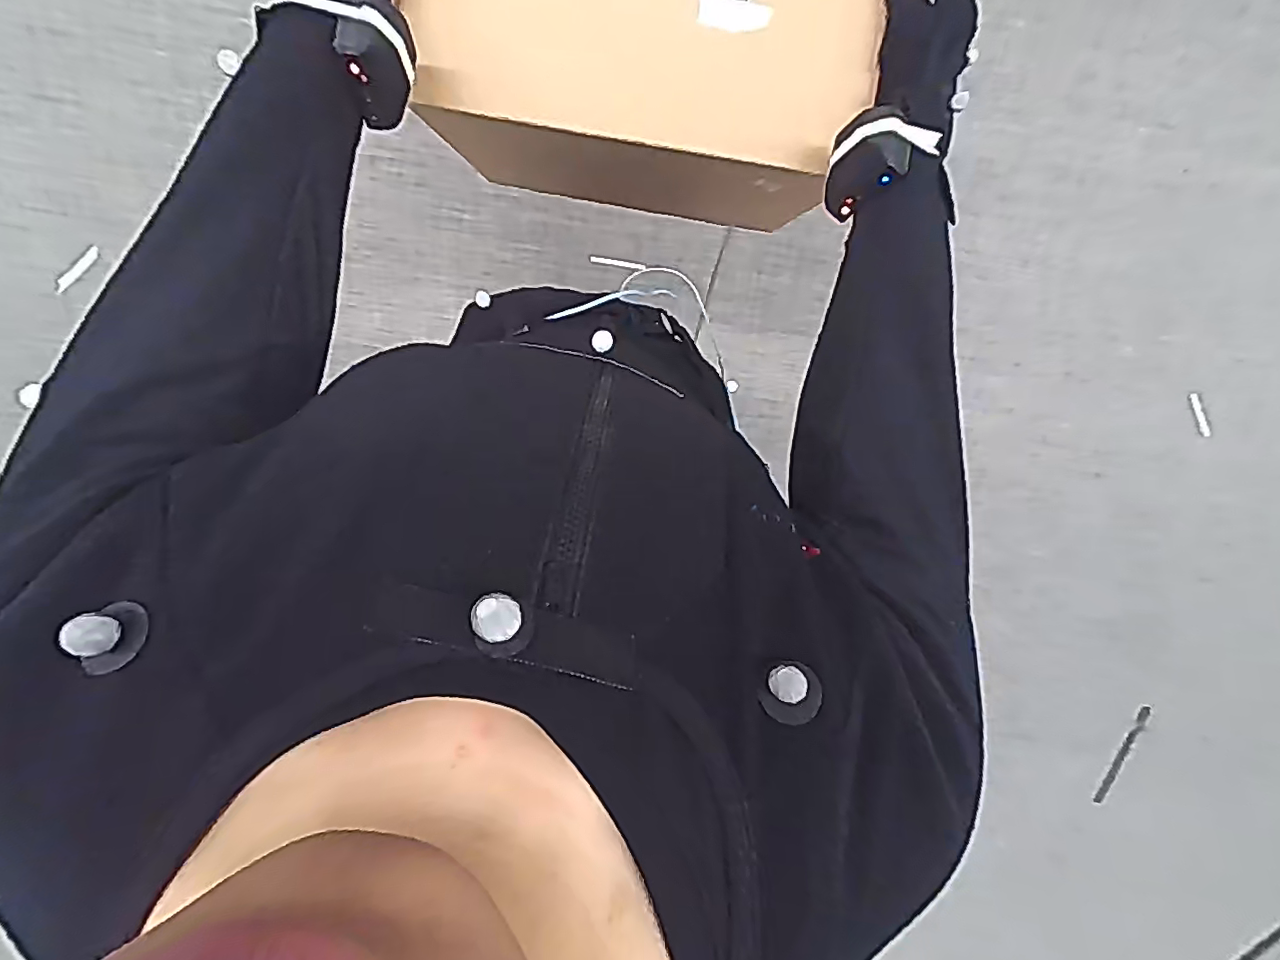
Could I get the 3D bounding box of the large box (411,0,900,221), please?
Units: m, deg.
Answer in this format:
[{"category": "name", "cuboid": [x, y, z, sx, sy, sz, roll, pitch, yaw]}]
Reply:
[{"category": "large box", "cuboid": [0.019, -0.490, 0.566, 0.408, 0.320, 0.320, 9, 108, -4]}]
